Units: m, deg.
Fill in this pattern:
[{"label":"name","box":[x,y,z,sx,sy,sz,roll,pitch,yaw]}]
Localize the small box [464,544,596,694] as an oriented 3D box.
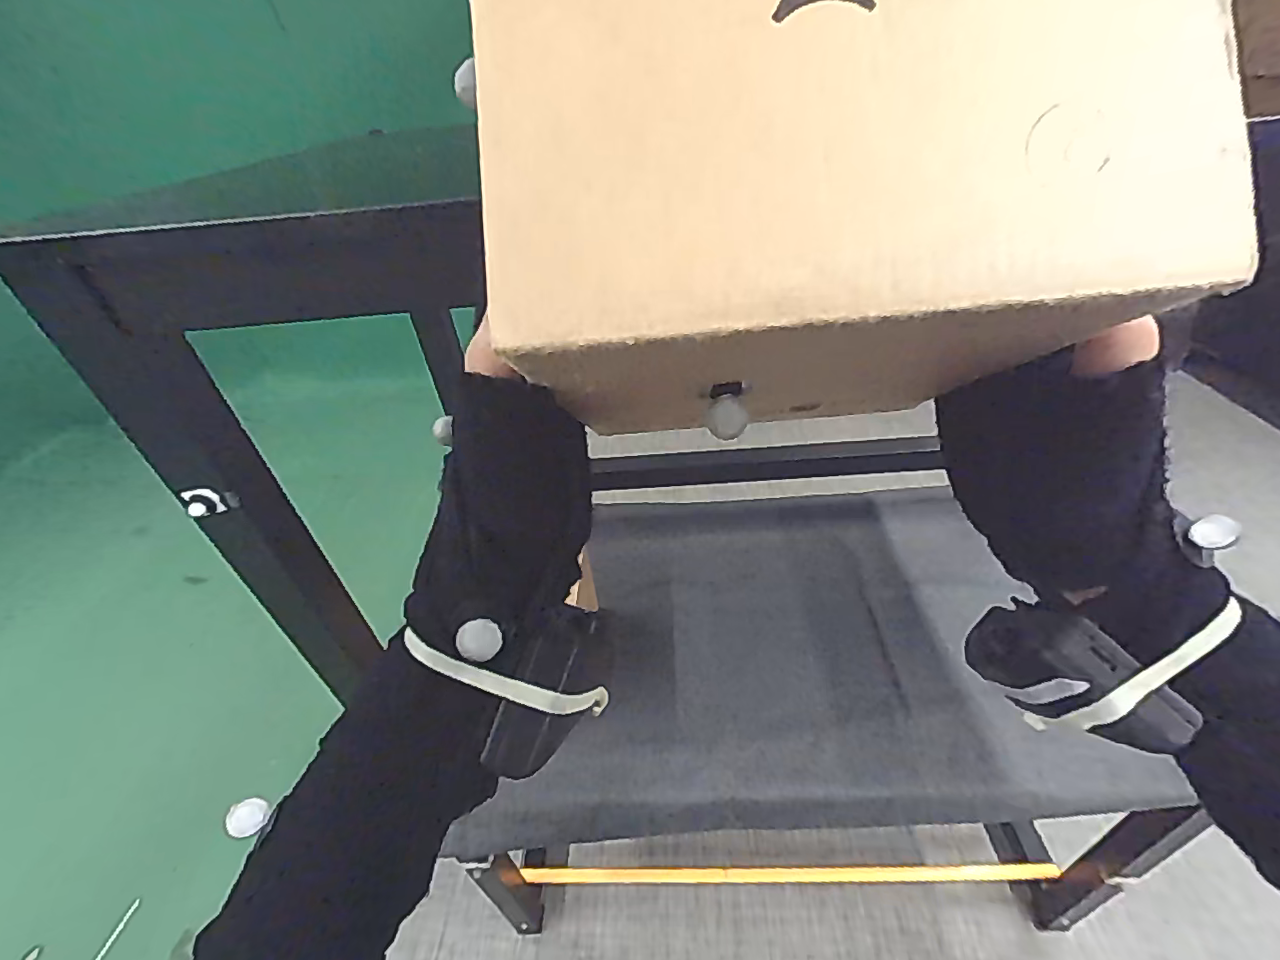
[{"label":"small box","box":[-0.167,0.227,0.890,0.168,0.176,0.179,-3,38,4]}]
